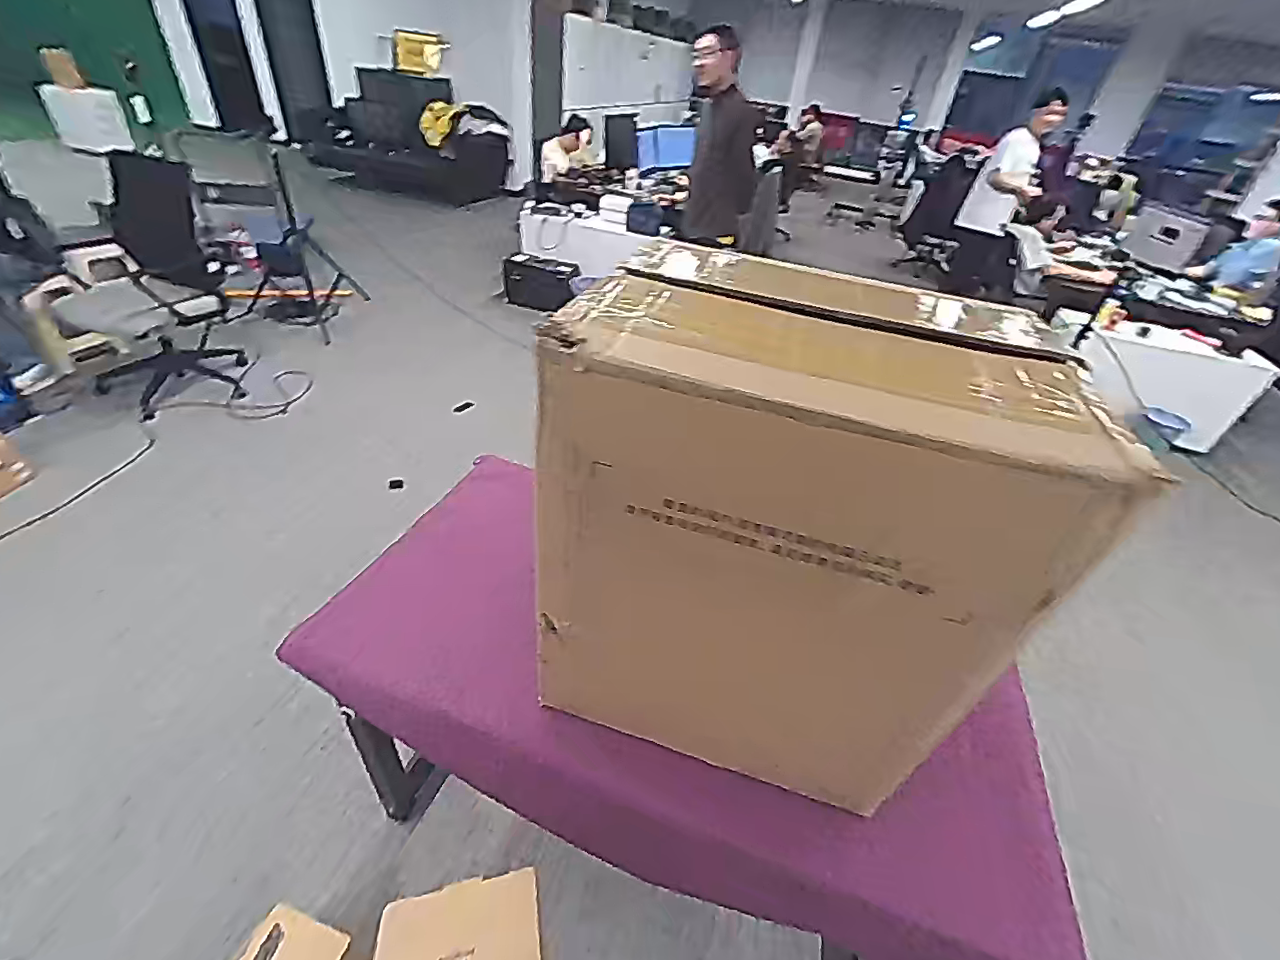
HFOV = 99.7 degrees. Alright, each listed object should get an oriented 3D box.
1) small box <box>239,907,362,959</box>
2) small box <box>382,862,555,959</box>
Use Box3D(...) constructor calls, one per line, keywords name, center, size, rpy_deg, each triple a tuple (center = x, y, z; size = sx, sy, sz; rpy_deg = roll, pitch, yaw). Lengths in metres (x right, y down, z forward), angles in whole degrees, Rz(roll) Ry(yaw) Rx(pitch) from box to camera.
Box3D(name="small box", center=(-0.669, 0.972, 1.035), size=(0.179, 0.176, 0.168), rpy_deg=(16, 38, 10))
Box3D(name="small box", center=(-0.167, 0.545, 0.545), size=(0.168, 0.176, 0.179), rpy_deg=(-6, 16, -12))
